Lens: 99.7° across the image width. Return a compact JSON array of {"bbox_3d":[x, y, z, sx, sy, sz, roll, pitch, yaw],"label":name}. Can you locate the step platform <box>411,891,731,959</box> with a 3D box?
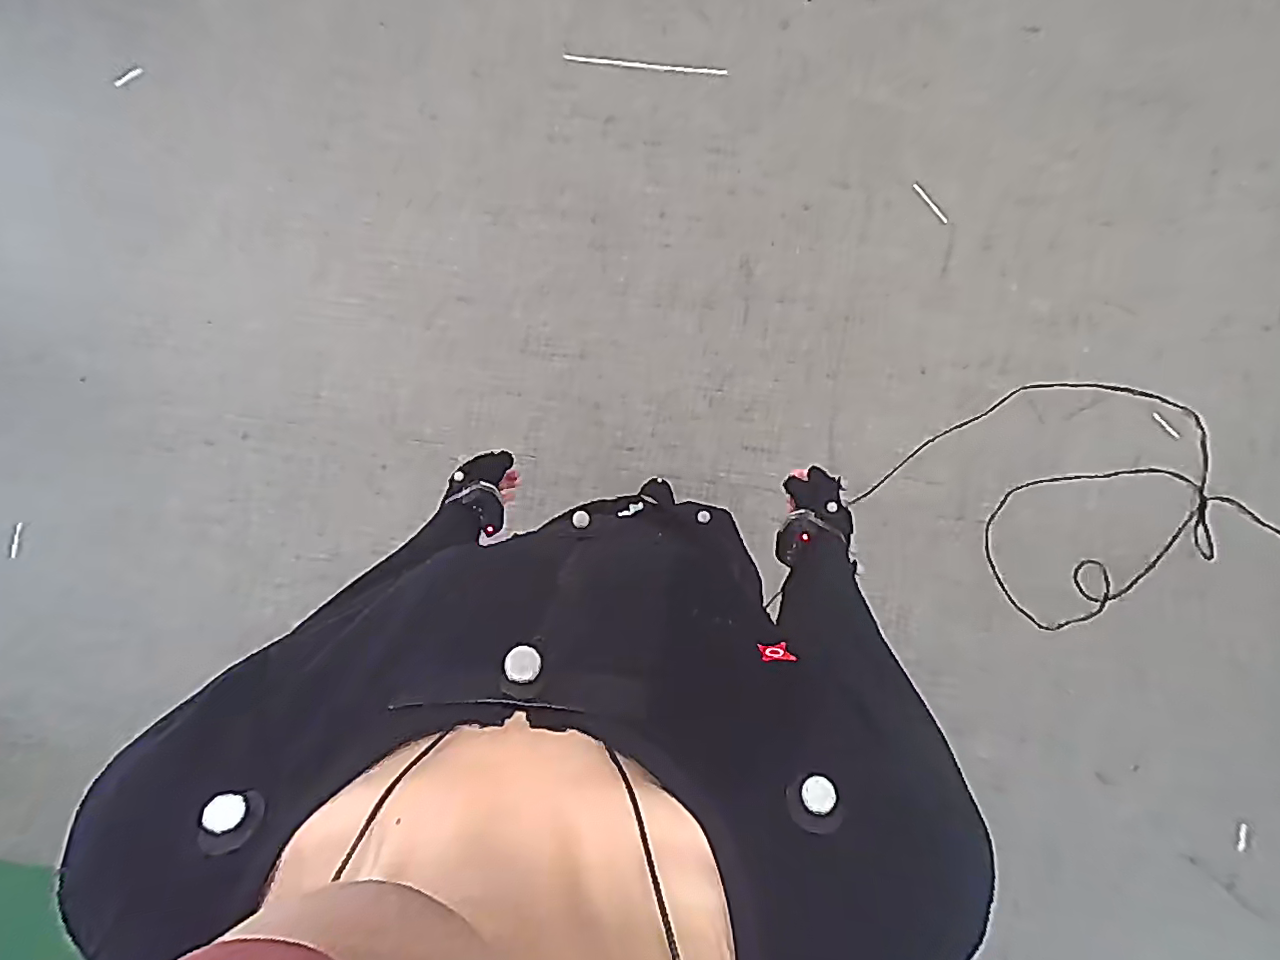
[{"bbox_3d":[-0.141,1.108,1.139,0.684,0.204,0.286,8,87,1],"label":"step platform"}]
